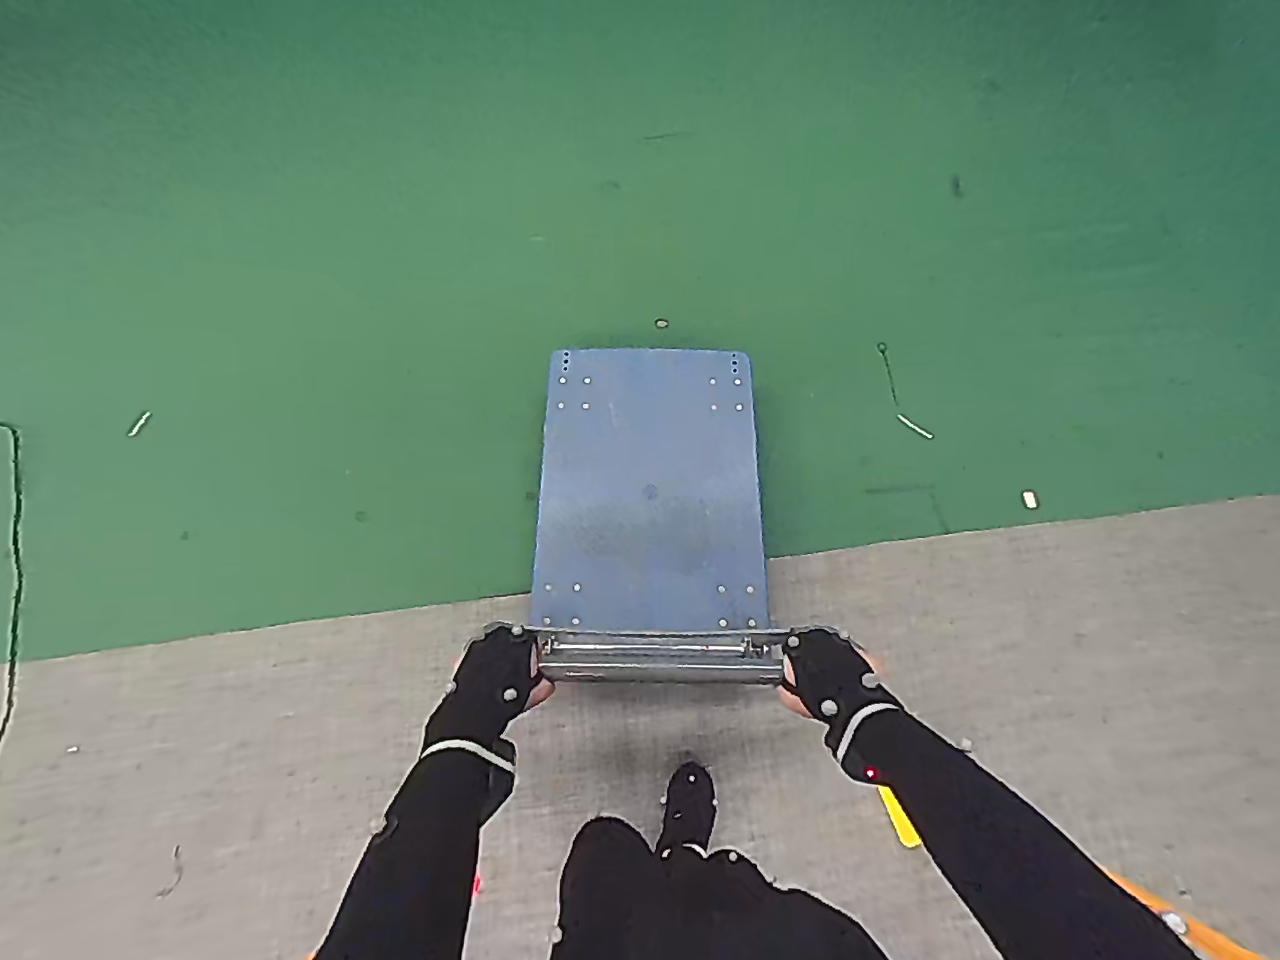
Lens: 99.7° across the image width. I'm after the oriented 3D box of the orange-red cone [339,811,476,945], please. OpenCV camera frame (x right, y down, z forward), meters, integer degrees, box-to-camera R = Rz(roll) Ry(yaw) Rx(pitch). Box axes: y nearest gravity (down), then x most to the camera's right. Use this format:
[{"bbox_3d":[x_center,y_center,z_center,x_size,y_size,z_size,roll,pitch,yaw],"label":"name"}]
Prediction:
[{"bbox_3d":[-0.495,0.840,1.088,0.199,0.360,0.198,-22,70,-6],"label":"orange-red cone"}]
